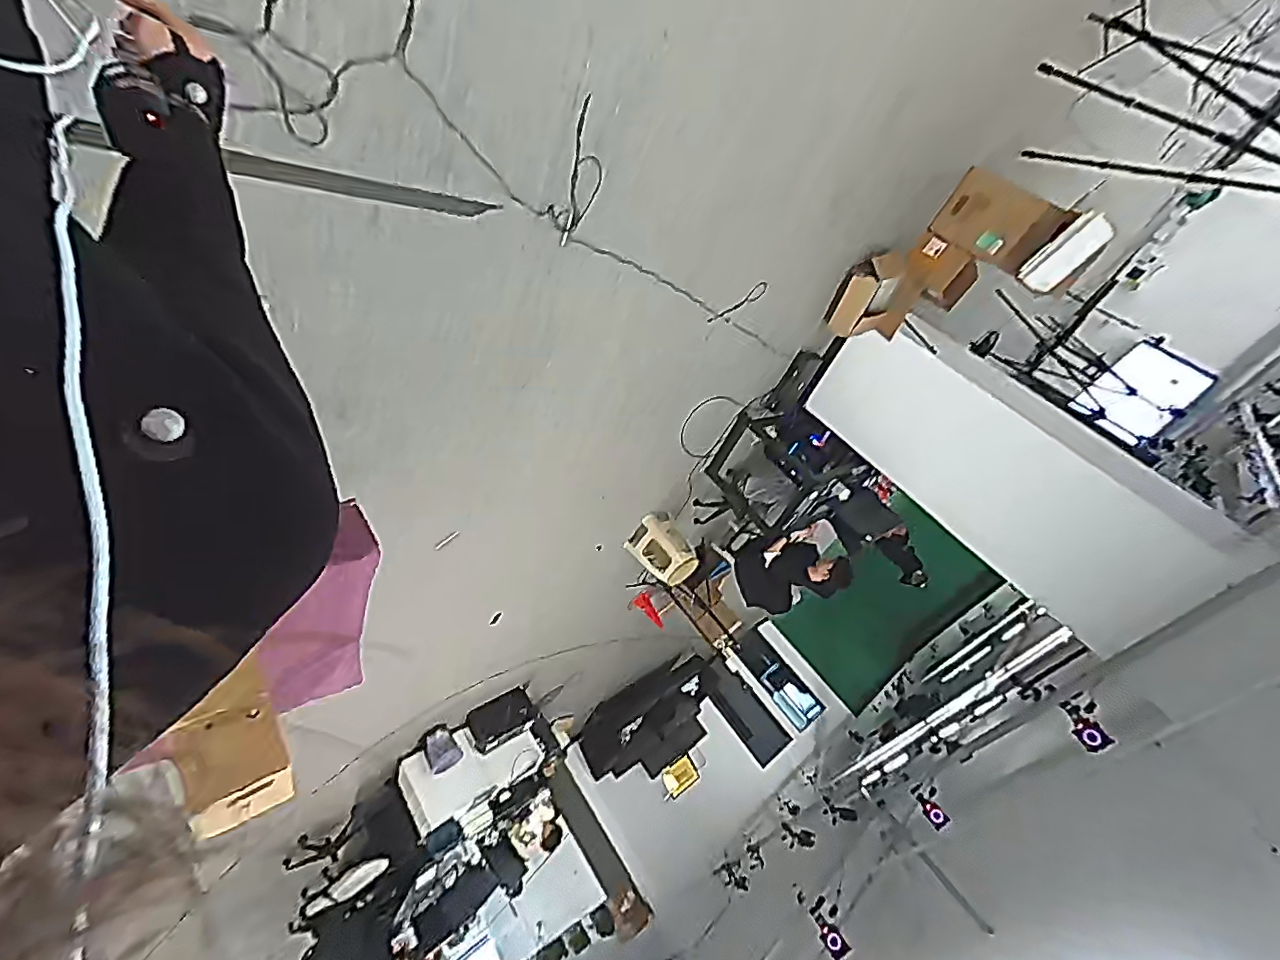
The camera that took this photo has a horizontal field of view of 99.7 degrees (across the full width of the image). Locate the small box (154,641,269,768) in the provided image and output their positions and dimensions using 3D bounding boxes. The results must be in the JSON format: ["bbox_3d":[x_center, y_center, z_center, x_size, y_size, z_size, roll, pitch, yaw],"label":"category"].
[{"bbox_3d":[-0.926,0.472,1.171,0.168,0.176,0.179,-12,141,-45],"label":"small box"}]

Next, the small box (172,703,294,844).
[{"bbox_3d":[-0.829,0.589,1.108,0.168,0.176,0.179,-16,144,-42],"label":"small box"}]
